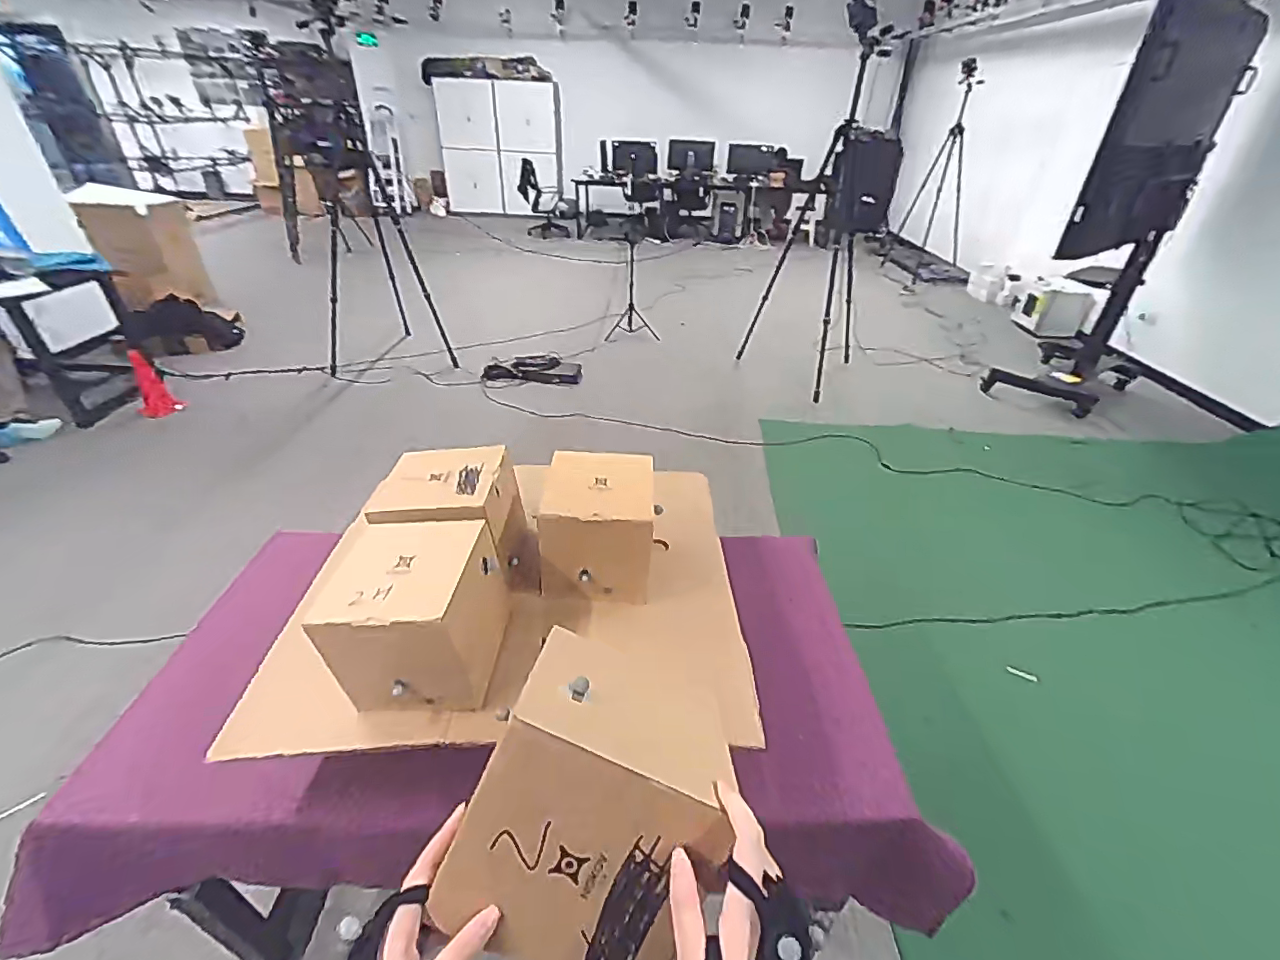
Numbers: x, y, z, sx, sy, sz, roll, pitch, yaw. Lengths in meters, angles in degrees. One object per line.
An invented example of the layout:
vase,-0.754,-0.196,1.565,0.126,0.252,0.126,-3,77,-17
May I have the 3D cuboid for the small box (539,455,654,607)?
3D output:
small box,-0.066,0.079,0.875,0.168,0.176,0.179,3,35,-2
